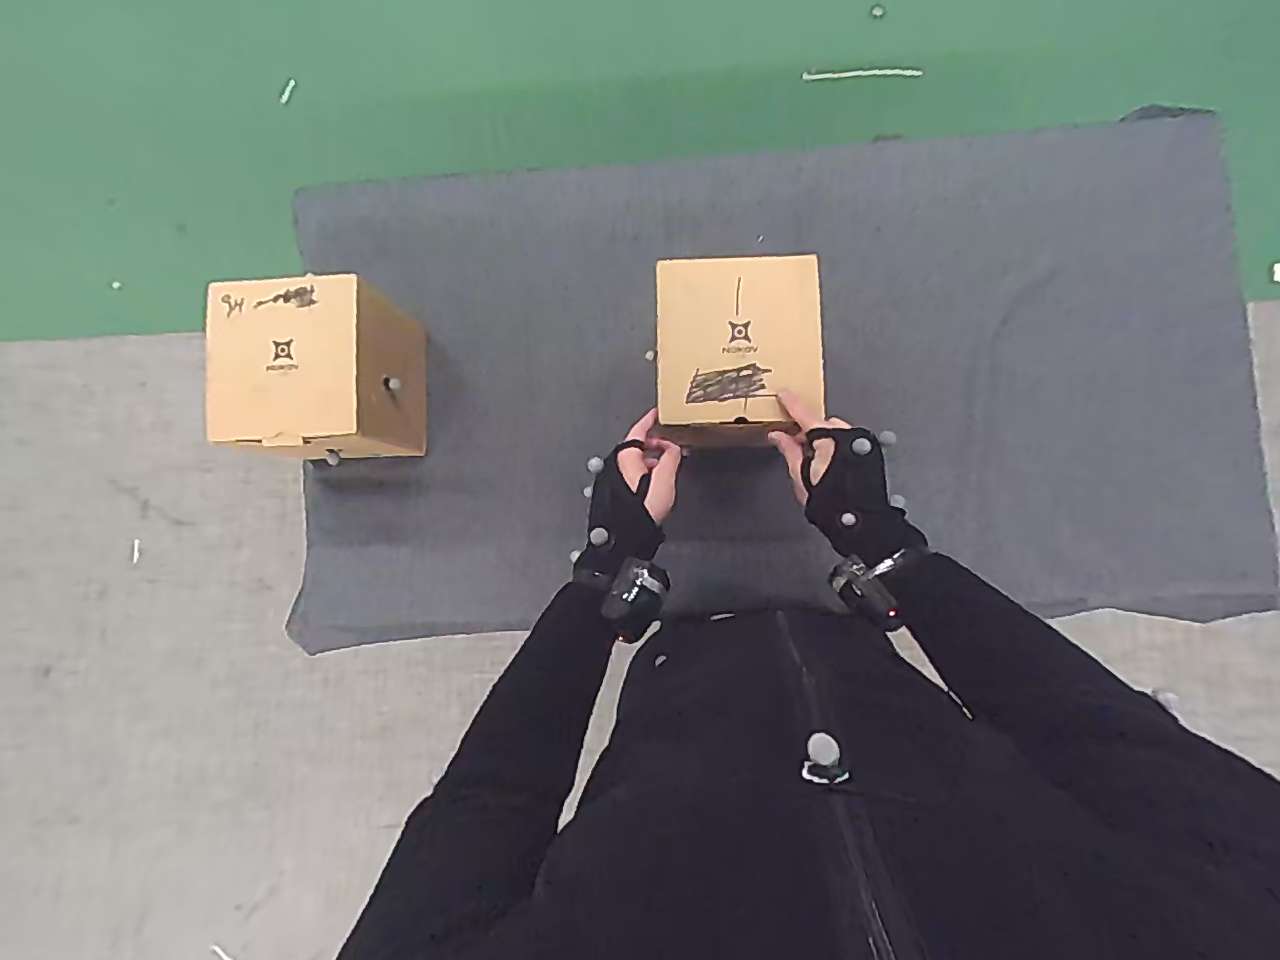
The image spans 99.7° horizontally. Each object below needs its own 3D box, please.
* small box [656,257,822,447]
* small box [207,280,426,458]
[{"bbox_3d":[0.104,-0.131,0.620,0.168,0.176,0.179,-1,86,3],"label":"small box"},{"bbox_3d":[-0.369,-0.117,0.646,0.168,0.176,0.179,-3,87,2],"label":"small box"}]
